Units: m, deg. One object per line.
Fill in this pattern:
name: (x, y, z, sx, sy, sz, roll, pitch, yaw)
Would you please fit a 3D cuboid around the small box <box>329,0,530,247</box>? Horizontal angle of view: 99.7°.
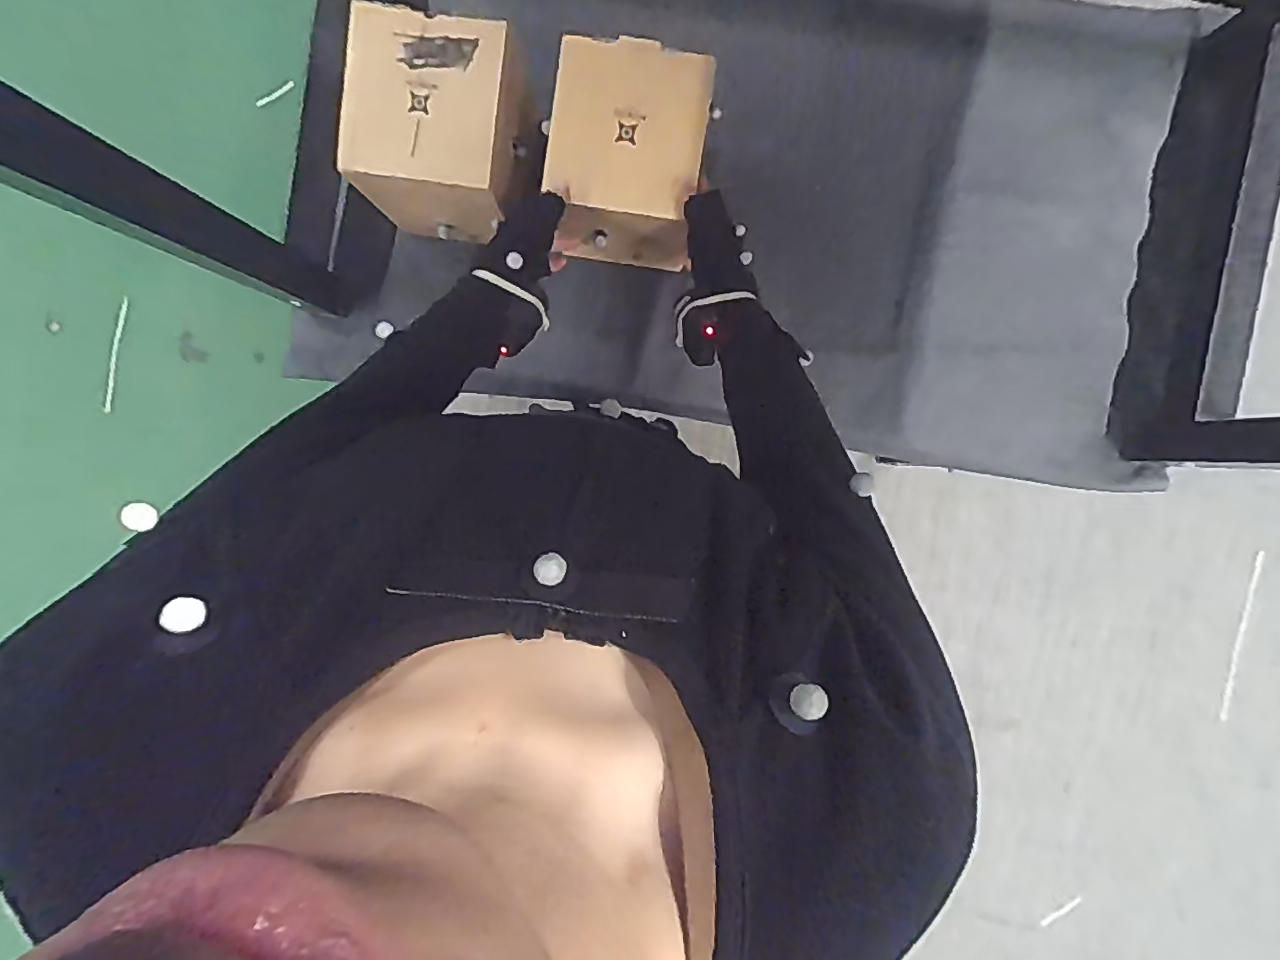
small box: (-0.234, -0.407, 0.645, 0.168, 0.176, 0.179, 9, 93, 0)
